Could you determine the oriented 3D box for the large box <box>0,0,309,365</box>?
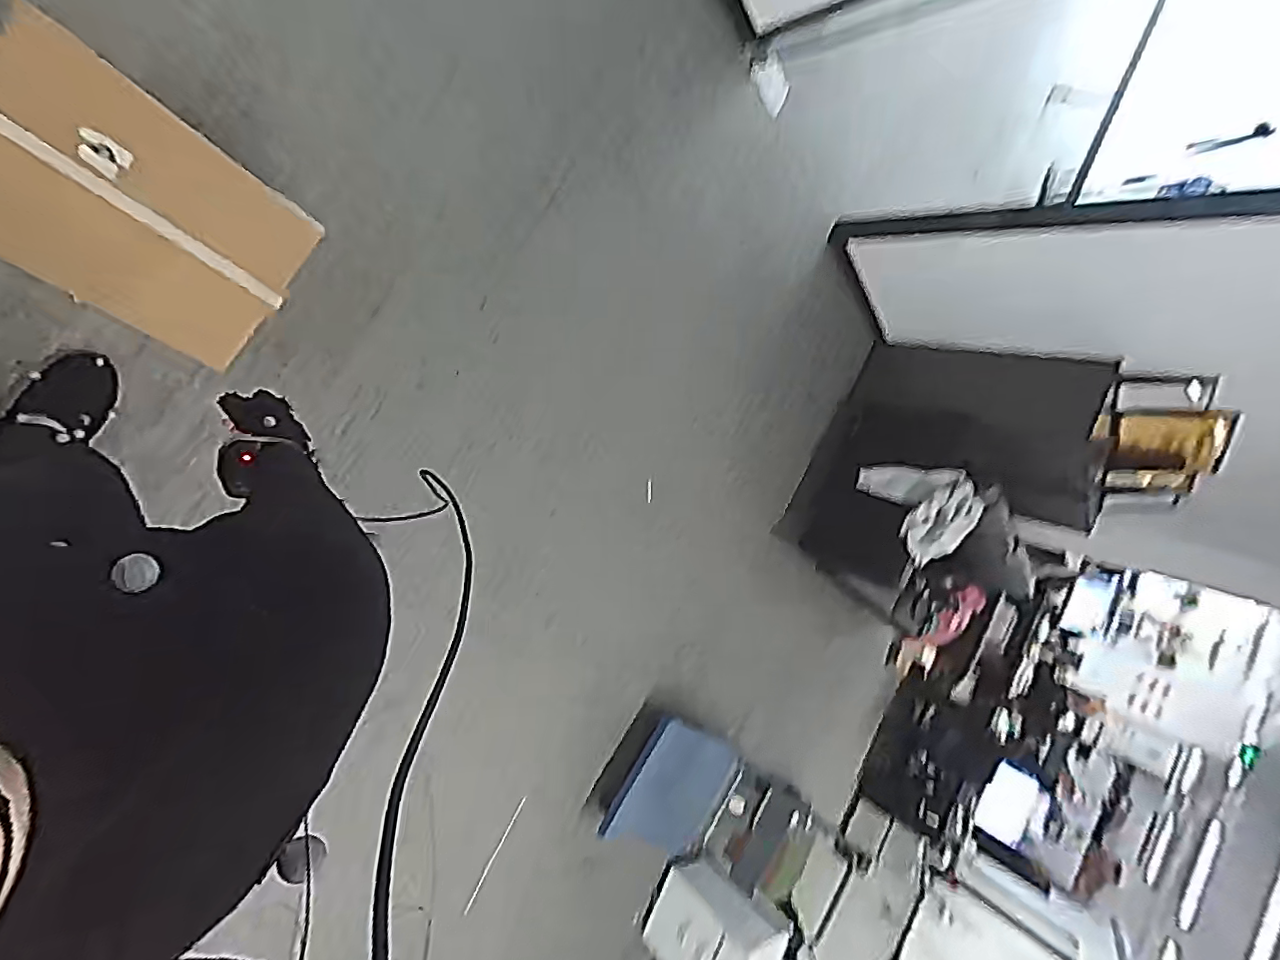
[{"bbox_3d":[-0.875,-0.449,0.918,0.408,0.320,0.320,38,77,-44],"label":"large box"}]
